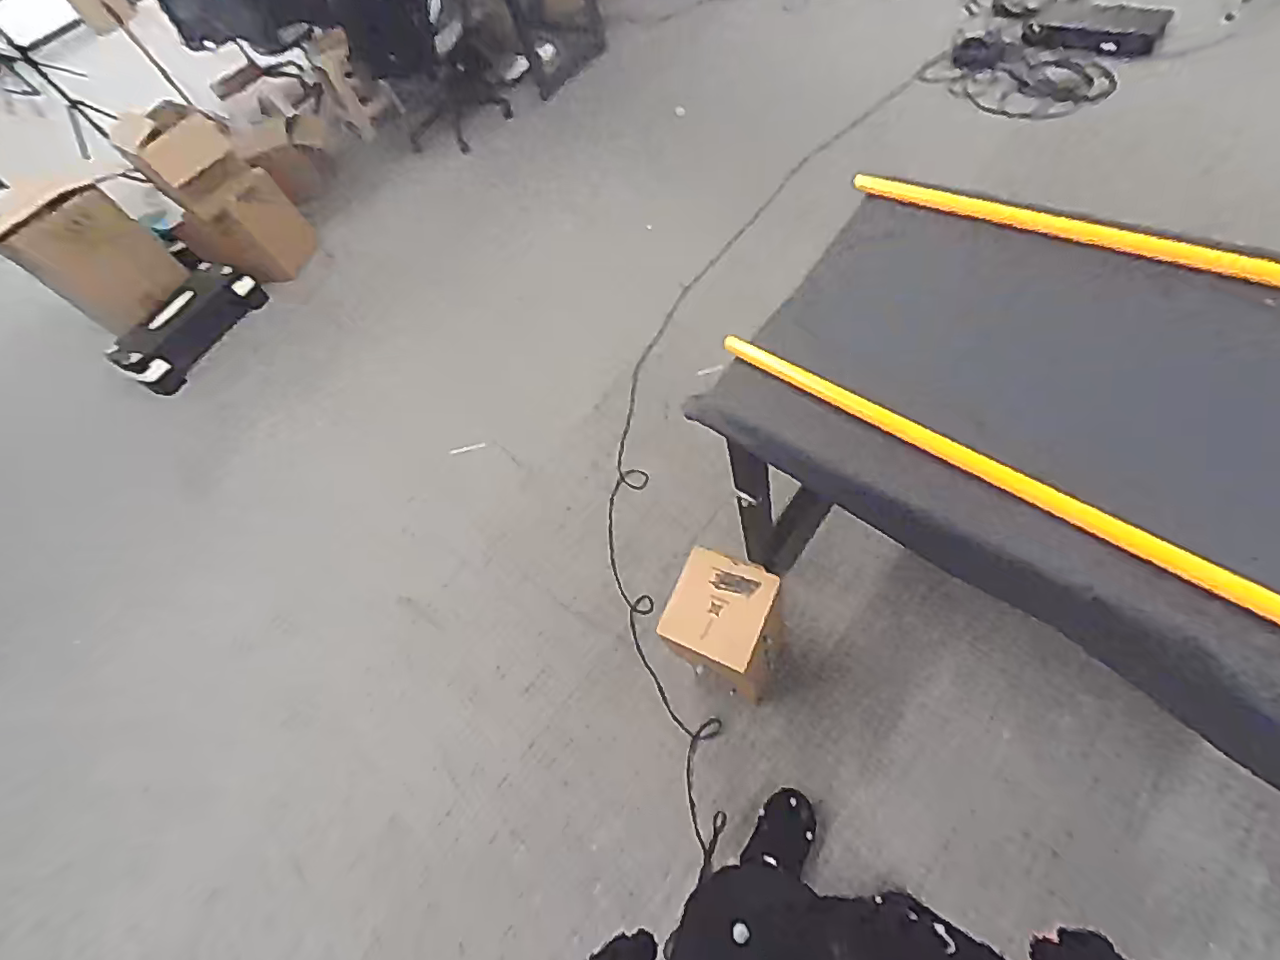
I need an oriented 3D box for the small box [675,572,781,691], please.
[{"bbox_3d":[0.195,0.326,1.144,0.168,0.176,0.179,14,64,25],"label":"small box"}]
